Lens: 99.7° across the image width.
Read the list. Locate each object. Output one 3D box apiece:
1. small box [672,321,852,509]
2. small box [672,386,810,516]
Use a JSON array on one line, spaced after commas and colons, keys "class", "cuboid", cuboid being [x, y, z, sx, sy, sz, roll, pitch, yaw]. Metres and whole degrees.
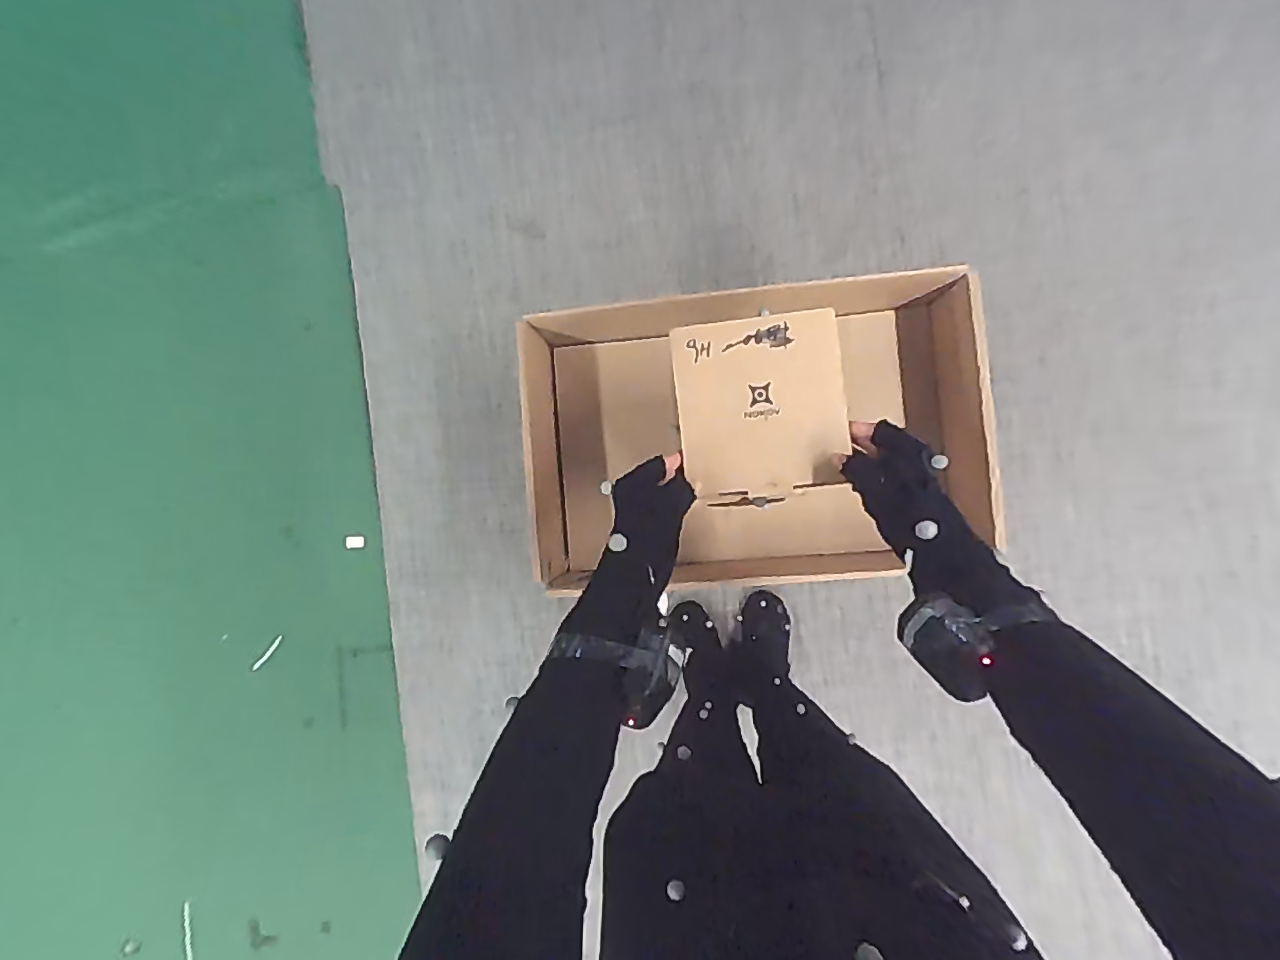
[{"class": "small box", "cuboid": [0.130, -0.063, 0.620, 0.168, 0.176, 0.179, -6, 87, 5]}, {"class": "small box", "cuboid": [0.139, -0.043, 0.783, 0.168, 0.176, 0.179, -6, 86, 5]}]
